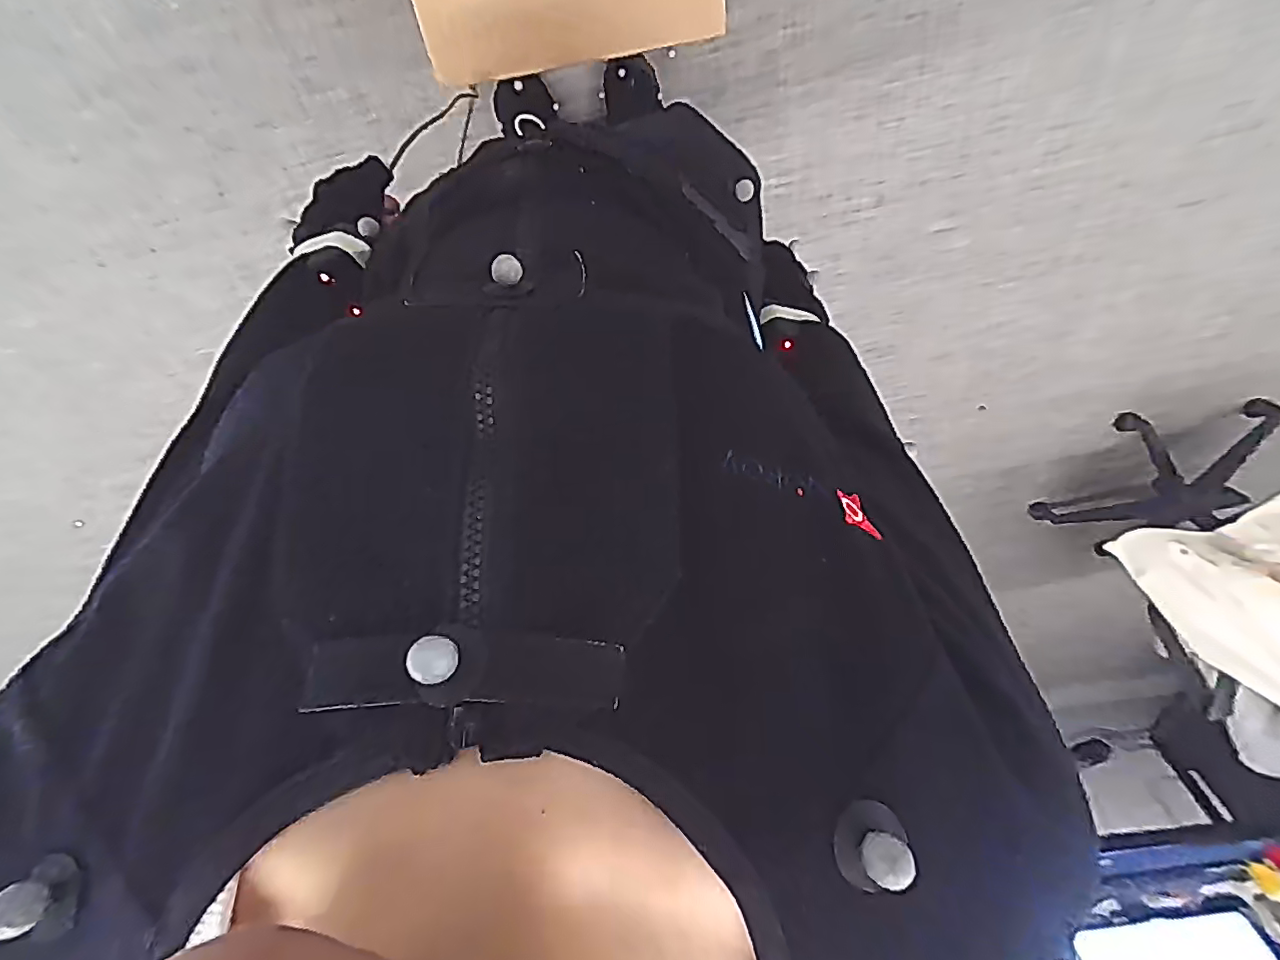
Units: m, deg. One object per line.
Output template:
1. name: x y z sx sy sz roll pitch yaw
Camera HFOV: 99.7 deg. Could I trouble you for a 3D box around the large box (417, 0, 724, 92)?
1. large box: -0.110 -0.790 0.763 0.408 0.320 0.320 -9 131 3
